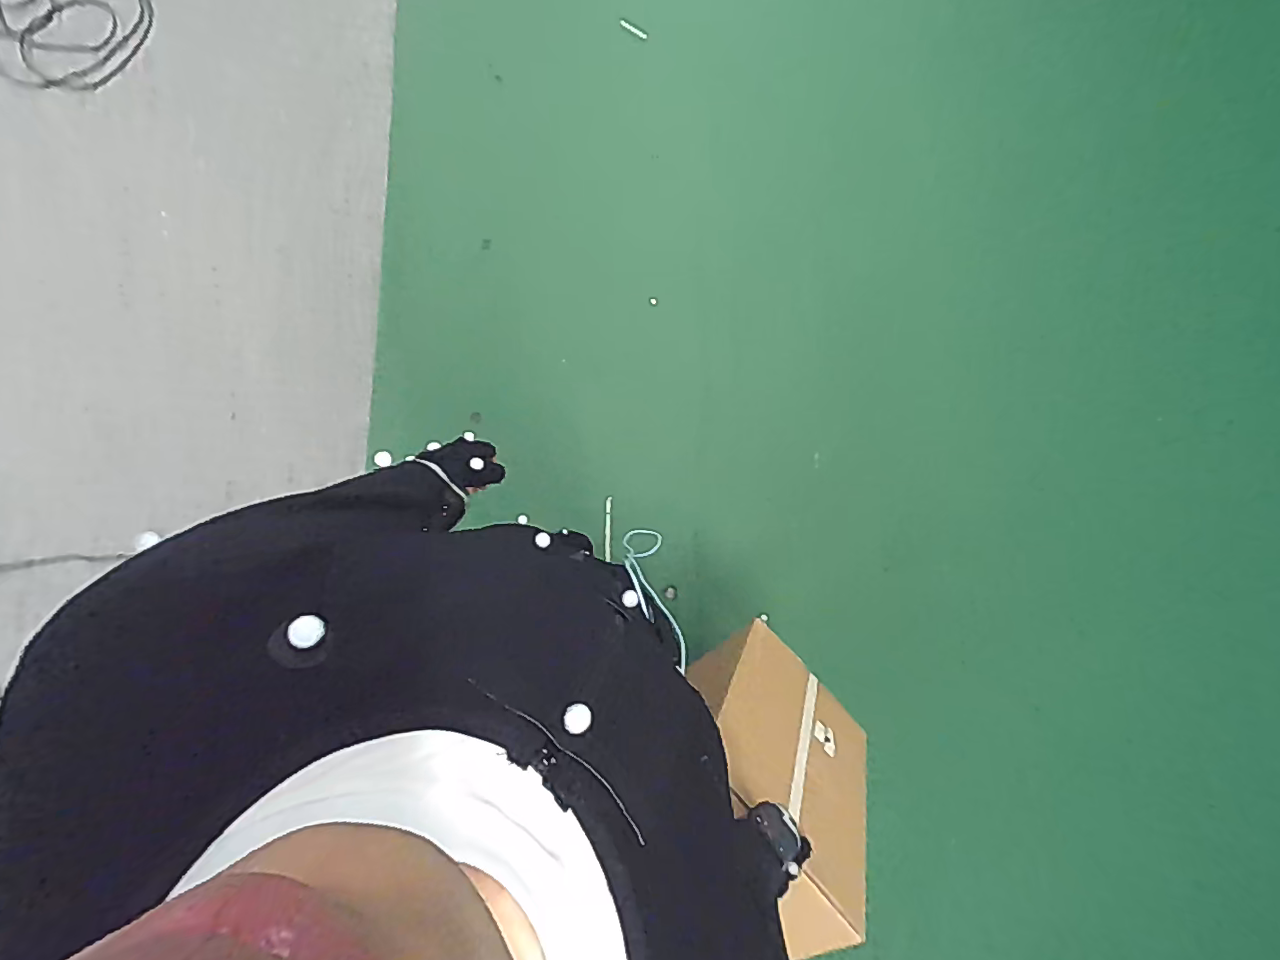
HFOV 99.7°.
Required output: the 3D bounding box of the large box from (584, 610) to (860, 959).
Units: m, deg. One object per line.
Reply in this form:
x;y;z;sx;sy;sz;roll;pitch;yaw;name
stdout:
0.168;0.521;0.980;0.320;0.408;0.320;47;116;3;large box
